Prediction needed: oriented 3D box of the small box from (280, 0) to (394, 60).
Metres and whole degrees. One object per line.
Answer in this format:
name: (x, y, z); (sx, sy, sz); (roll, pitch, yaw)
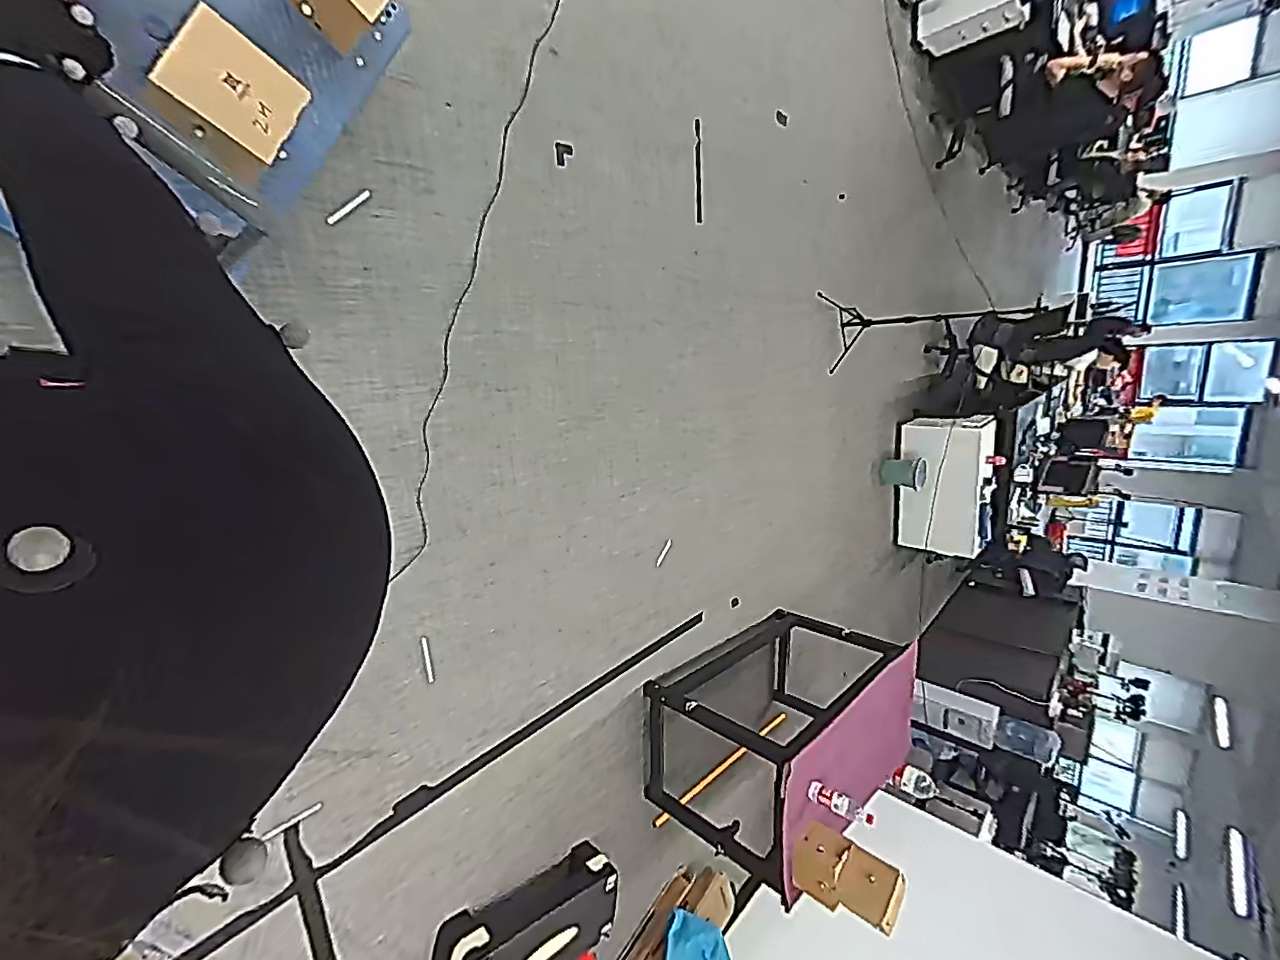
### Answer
small box: (-0.592, -0.992, 1.064); (0.168, 0.176, 0.179); (37, 71, -43)

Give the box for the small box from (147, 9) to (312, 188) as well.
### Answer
small box: (-0.735, -0.662, 0.965); (0.179, 0.176, 0.168); (33, 73, -43)
